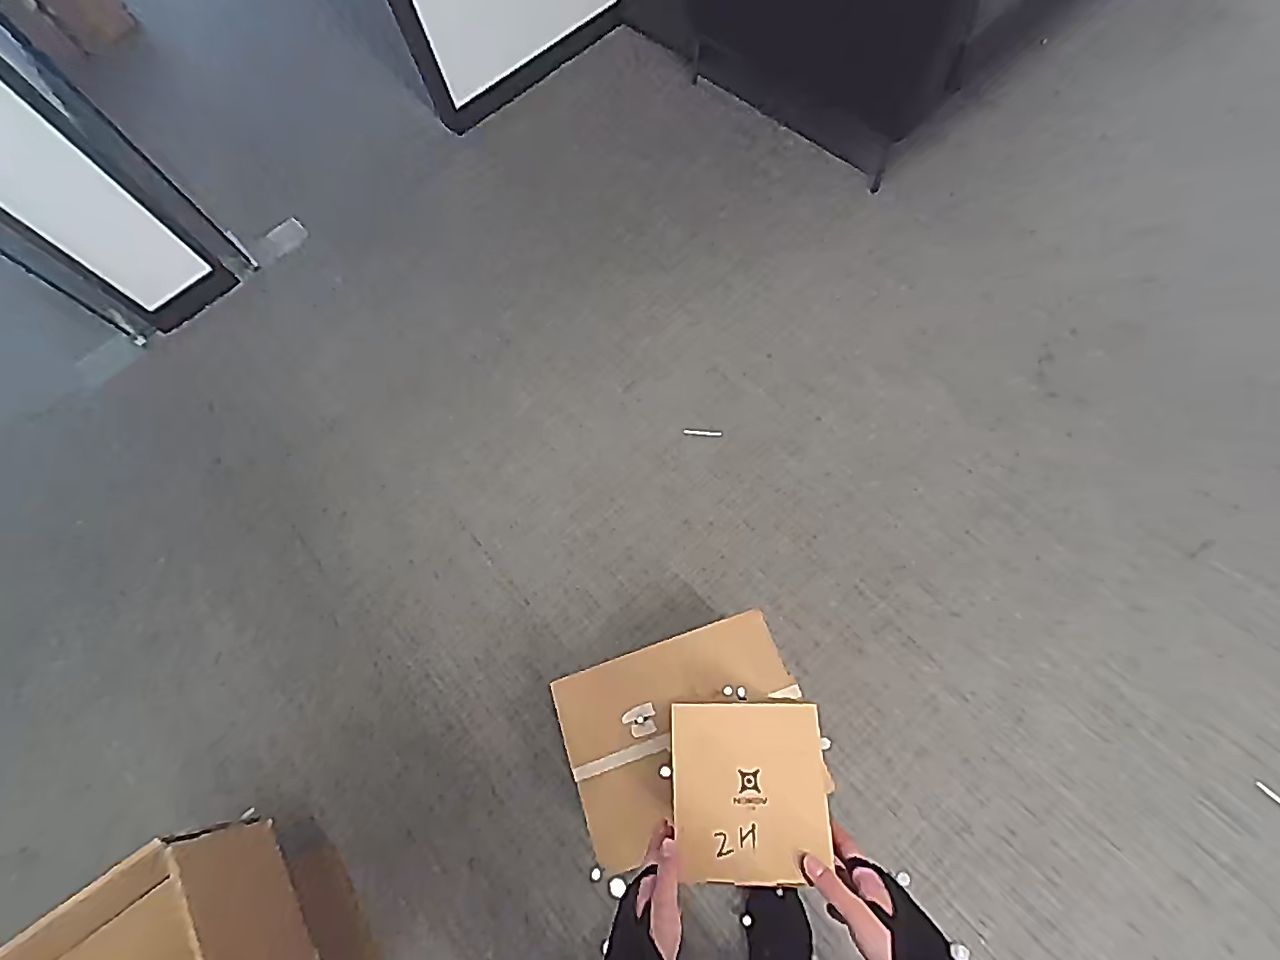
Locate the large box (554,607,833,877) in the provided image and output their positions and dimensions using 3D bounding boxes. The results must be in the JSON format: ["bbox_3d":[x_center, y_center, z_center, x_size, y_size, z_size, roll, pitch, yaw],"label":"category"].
[{"bbox_3d":[0.094,0.479,1.054,0.408,0.320,0.320,-20,67,-2],"label":"large box"}]

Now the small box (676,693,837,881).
[{"bbox_3d":[0.127,0.354,0.657,0.168,0.176,0.179,-2,70,5],"label":"small box"}]
